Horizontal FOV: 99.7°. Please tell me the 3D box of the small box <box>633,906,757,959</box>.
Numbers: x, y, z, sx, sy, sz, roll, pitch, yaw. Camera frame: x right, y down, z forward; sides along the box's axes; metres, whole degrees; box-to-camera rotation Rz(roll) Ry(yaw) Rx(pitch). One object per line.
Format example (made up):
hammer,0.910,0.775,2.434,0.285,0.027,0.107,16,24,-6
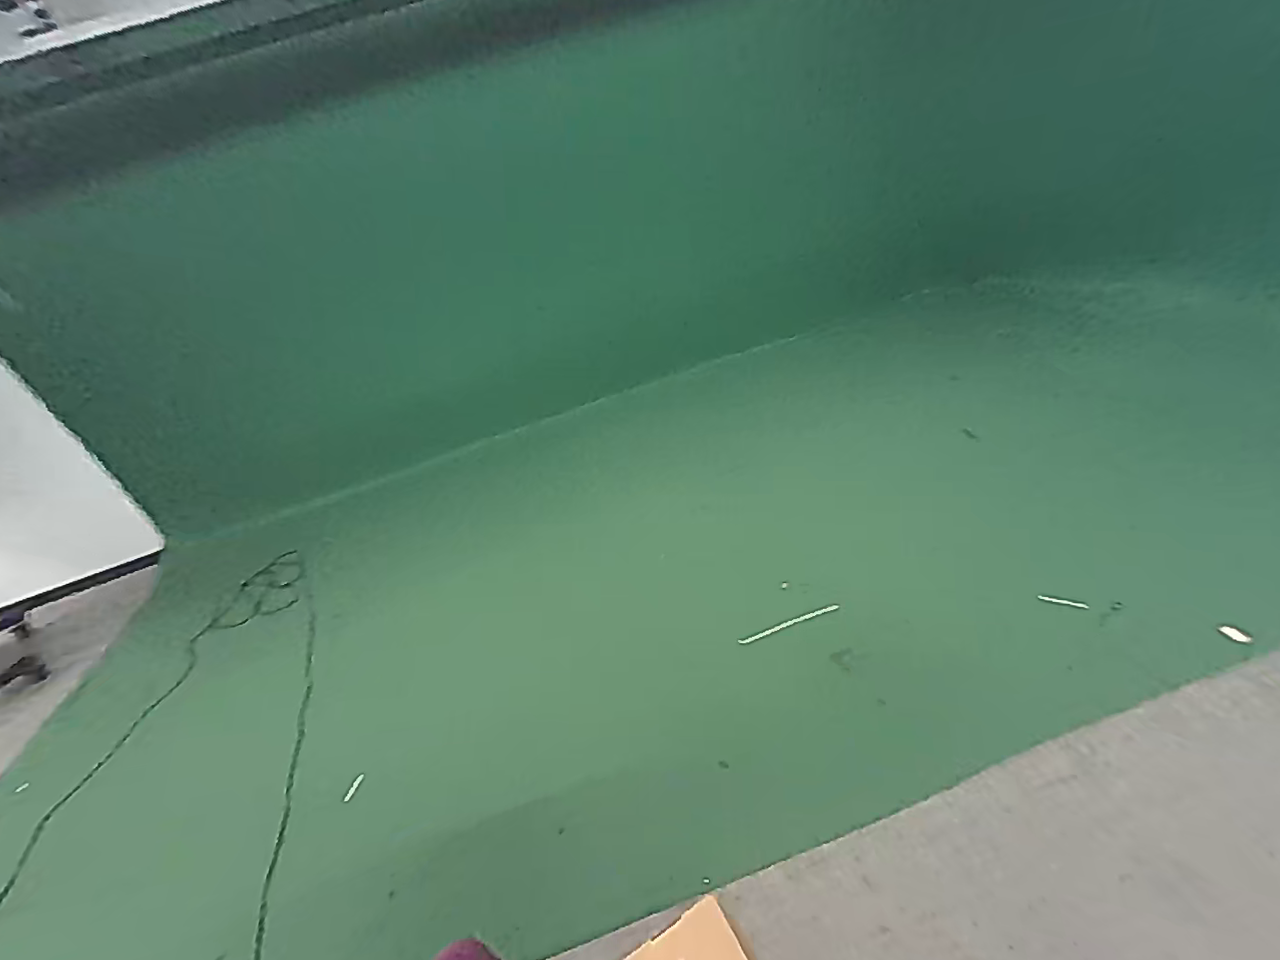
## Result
small box,0.051,0.490,0.430,0.168,0.176,0.179,-29,44,-10
